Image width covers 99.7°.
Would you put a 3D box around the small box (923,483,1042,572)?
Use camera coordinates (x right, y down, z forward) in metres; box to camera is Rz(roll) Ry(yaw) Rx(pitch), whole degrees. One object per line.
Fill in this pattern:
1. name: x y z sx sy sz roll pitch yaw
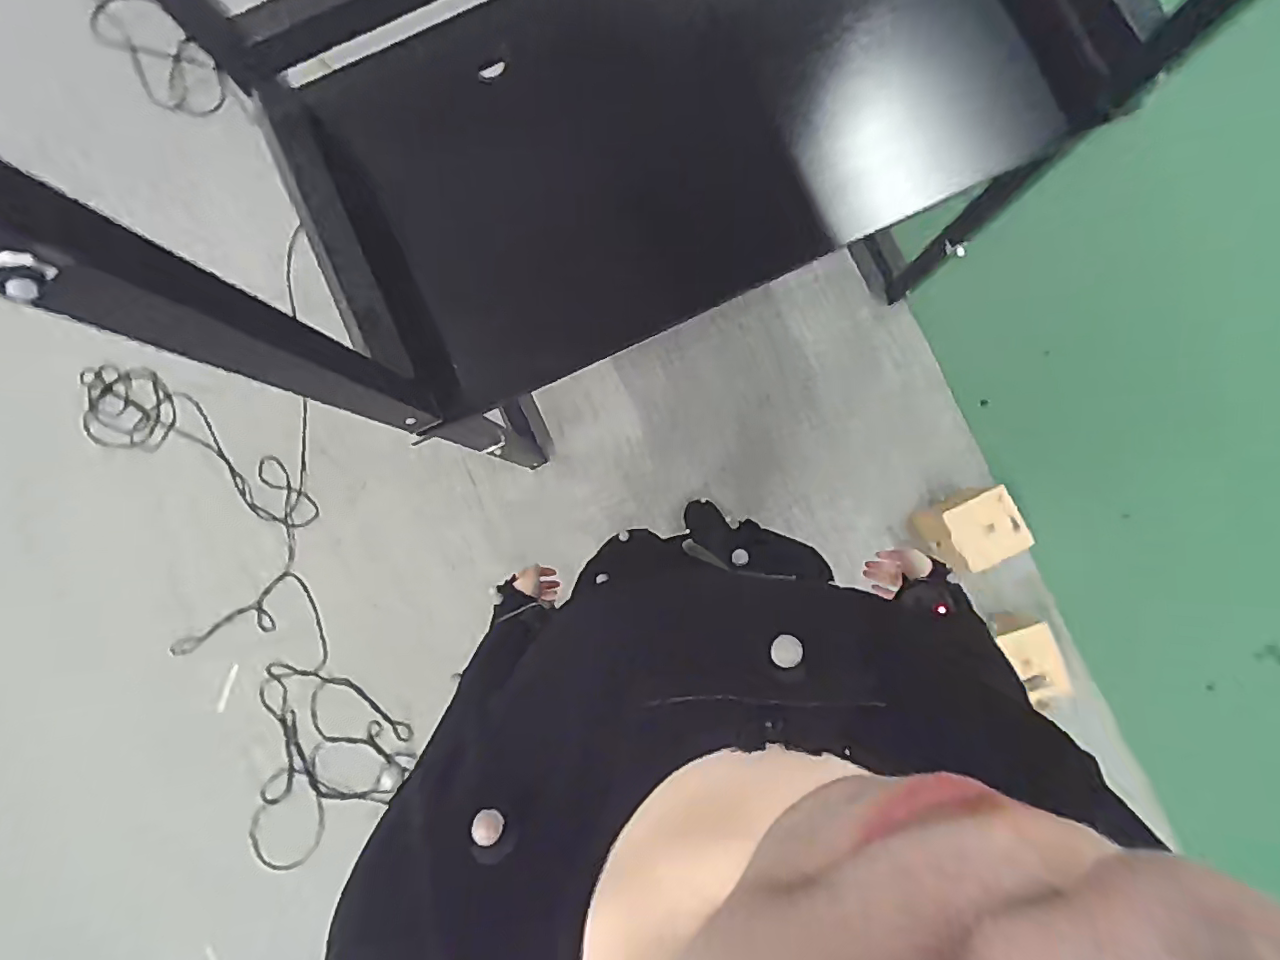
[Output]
1. small box: 0.863 0.122 1.388 0.179 0.176 0.168 -26 85 1
